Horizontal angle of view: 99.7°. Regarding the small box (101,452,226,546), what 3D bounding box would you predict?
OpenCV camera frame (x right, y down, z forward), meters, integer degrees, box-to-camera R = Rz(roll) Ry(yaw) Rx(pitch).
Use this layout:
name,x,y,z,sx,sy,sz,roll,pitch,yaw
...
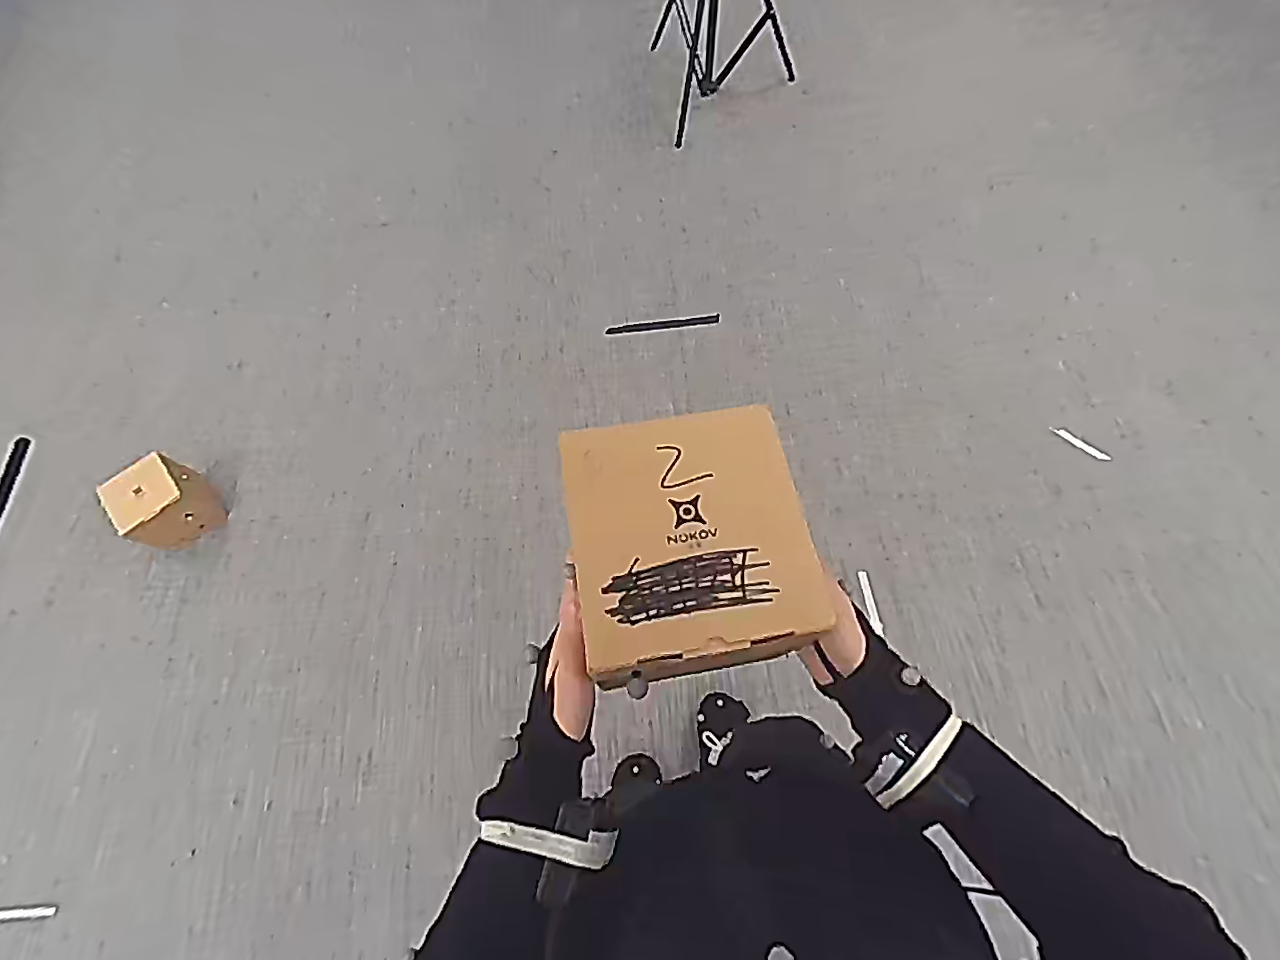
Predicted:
name,x,y,z,sx,sy,sz,roll,pitch,yaw
small box,-1.290,0.062,1.477,0.168,0.176,0.179,-40,71,-14
